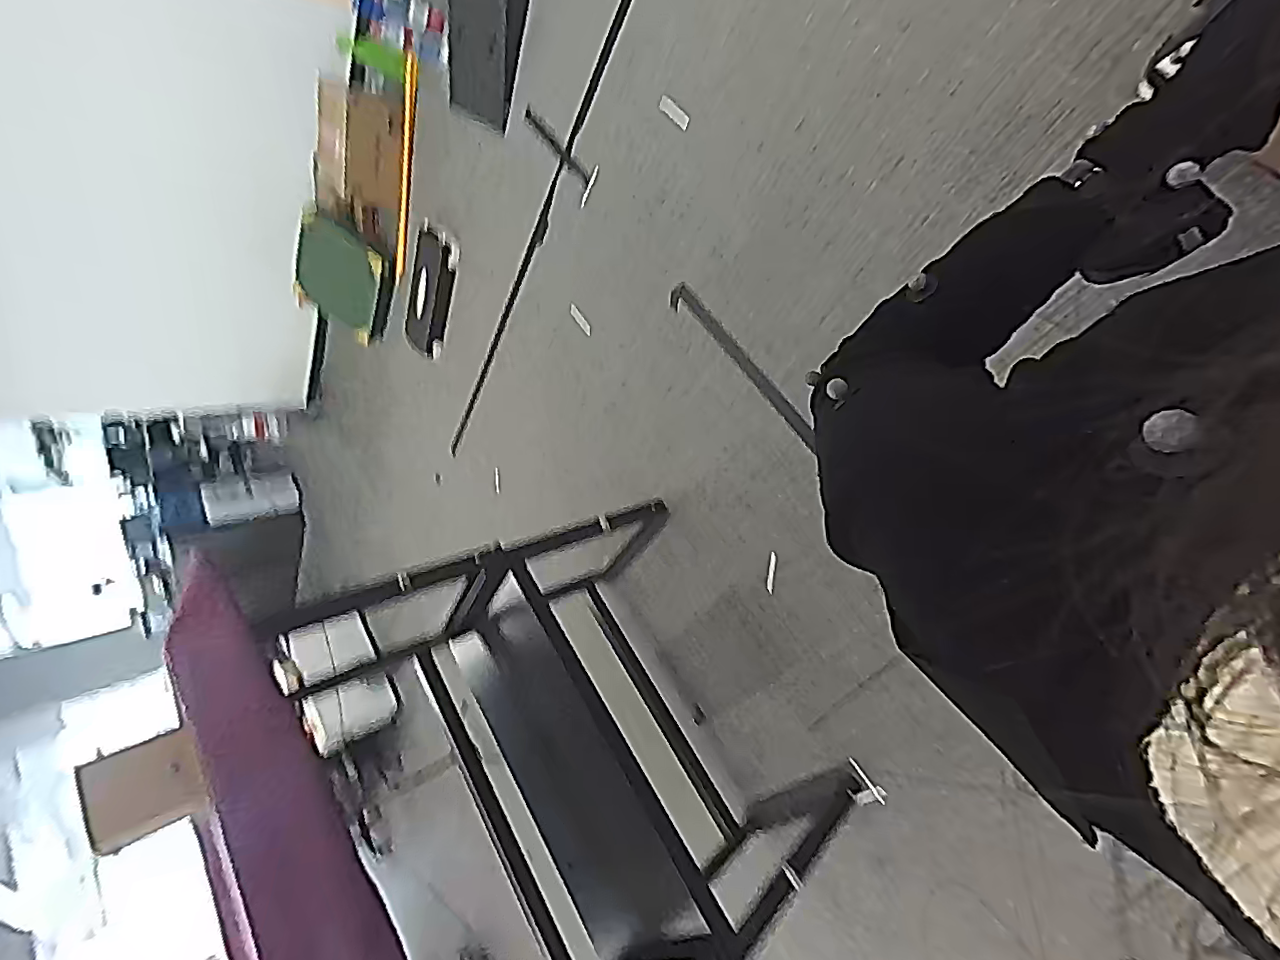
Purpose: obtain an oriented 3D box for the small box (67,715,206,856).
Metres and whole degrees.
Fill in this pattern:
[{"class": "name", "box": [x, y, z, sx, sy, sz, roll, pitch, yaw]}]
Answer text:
[{"class": "small box", "box": [-0.977, 0.587, 1.058, 0.179, 0.176, 0.168, 57, 133, 18]}]
